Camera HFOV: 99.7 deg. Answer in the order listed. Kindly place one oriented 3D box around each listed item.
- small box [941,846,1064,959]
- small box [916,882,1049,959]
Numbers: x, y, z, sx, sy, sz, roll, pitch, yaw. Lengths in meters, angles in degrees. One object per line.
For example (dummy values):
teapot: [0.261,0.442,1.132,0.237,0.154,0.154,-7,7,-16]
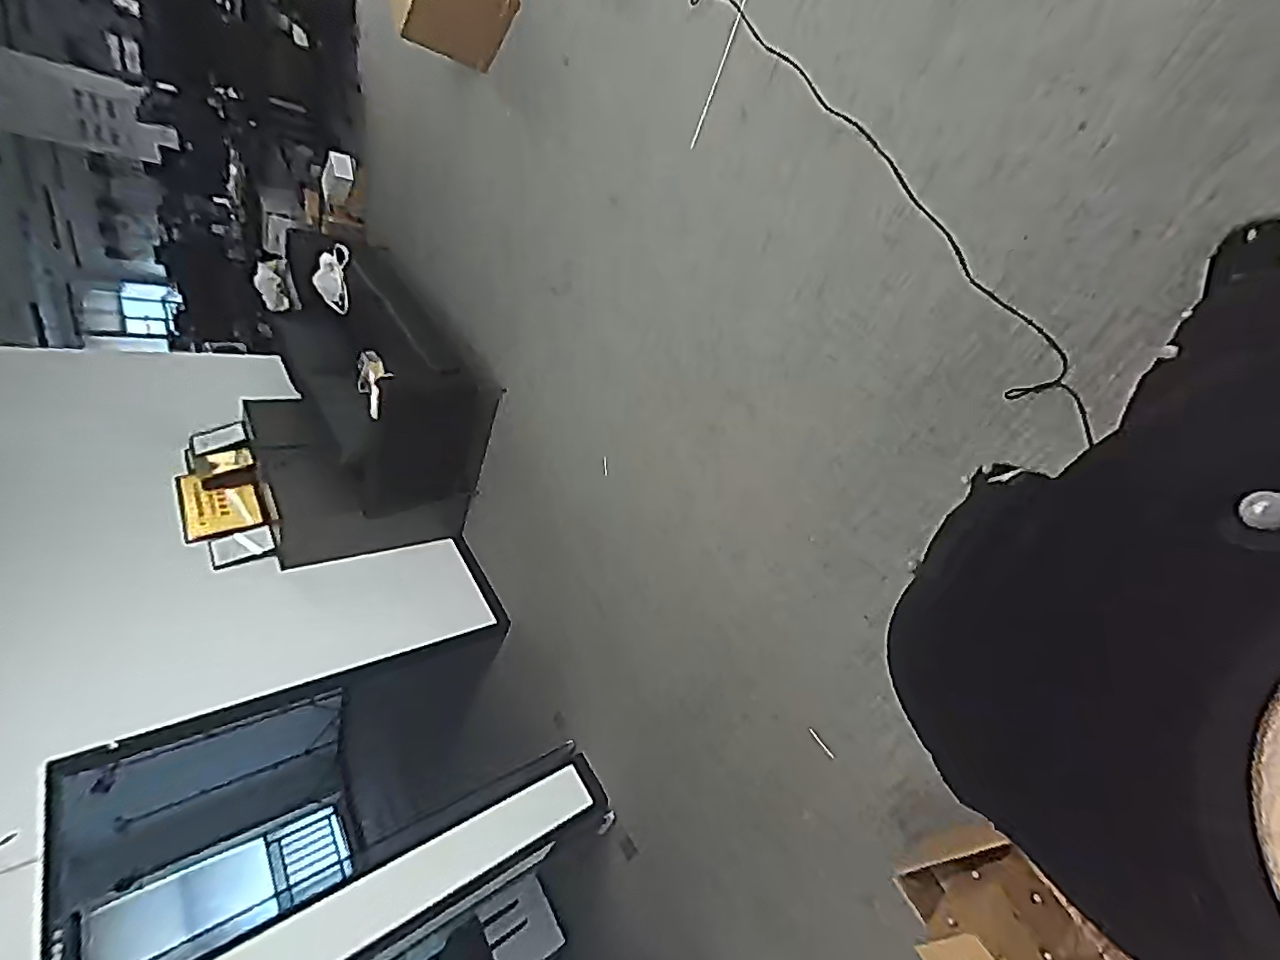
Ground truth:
small box: [0.884,1.034,1.314,0.168,0.176,0.179,53,131,30]
small box: [0.766,1.040,1.201,0.168,0.176,0.179,54,133,28]
